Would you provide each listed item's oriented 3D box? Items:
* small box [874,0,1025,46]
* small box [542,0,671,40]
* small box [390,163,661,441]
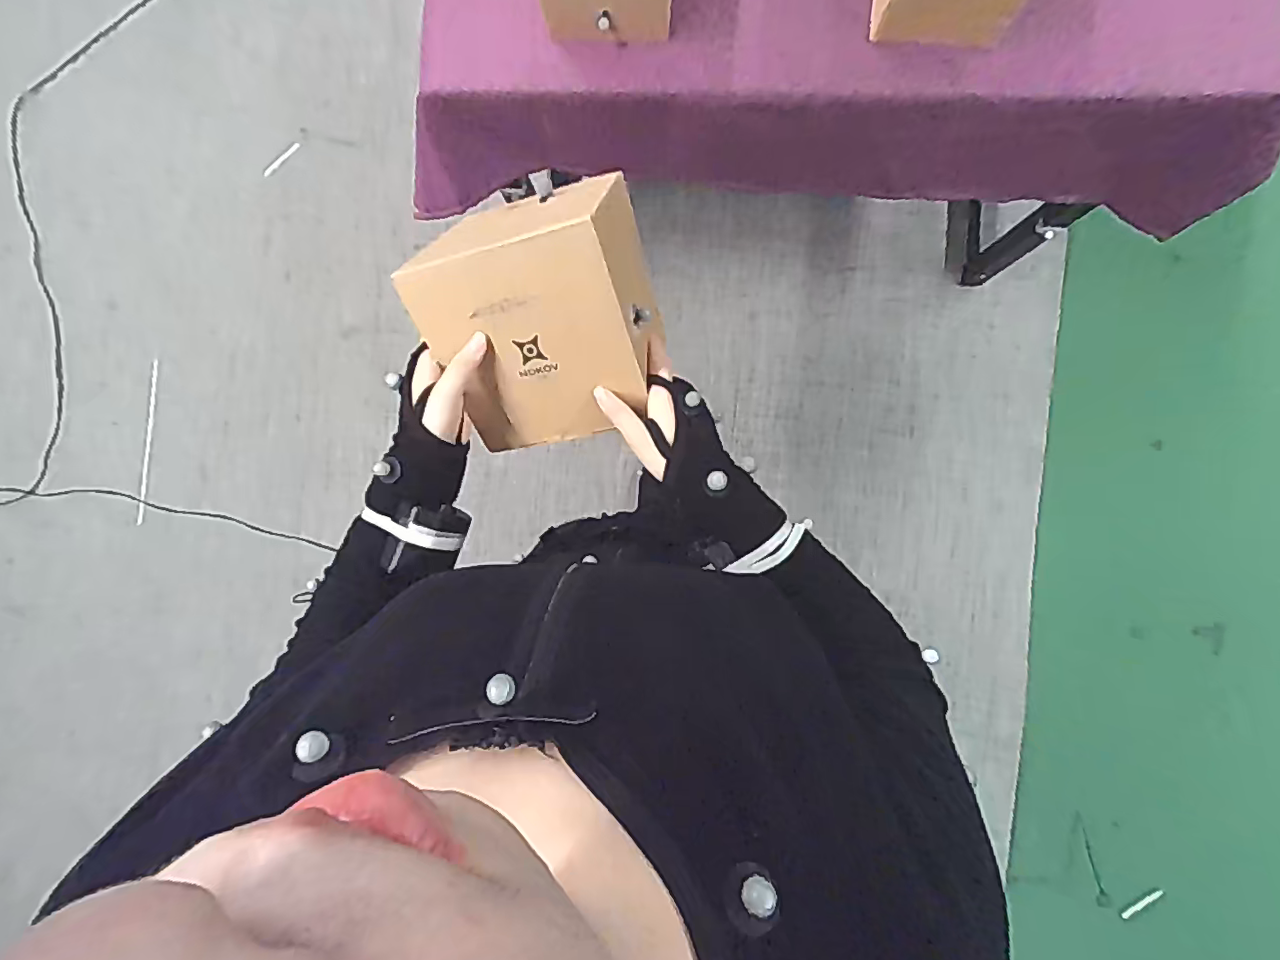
[{"bbox_3d":[0.410,-0.685,0.671,0.179,0.176,0.168,6,89,3],"label":"small box"},{"bbox_3d":[-0.040,-0.717,0.699,0.179,0.176,0.168,5,89,3],"label":"small box"},{"bbox_3d":[-0.082,-0.163,0.499,0.168,0.176,0.179,-8,128,14],"label":"small box"}]
